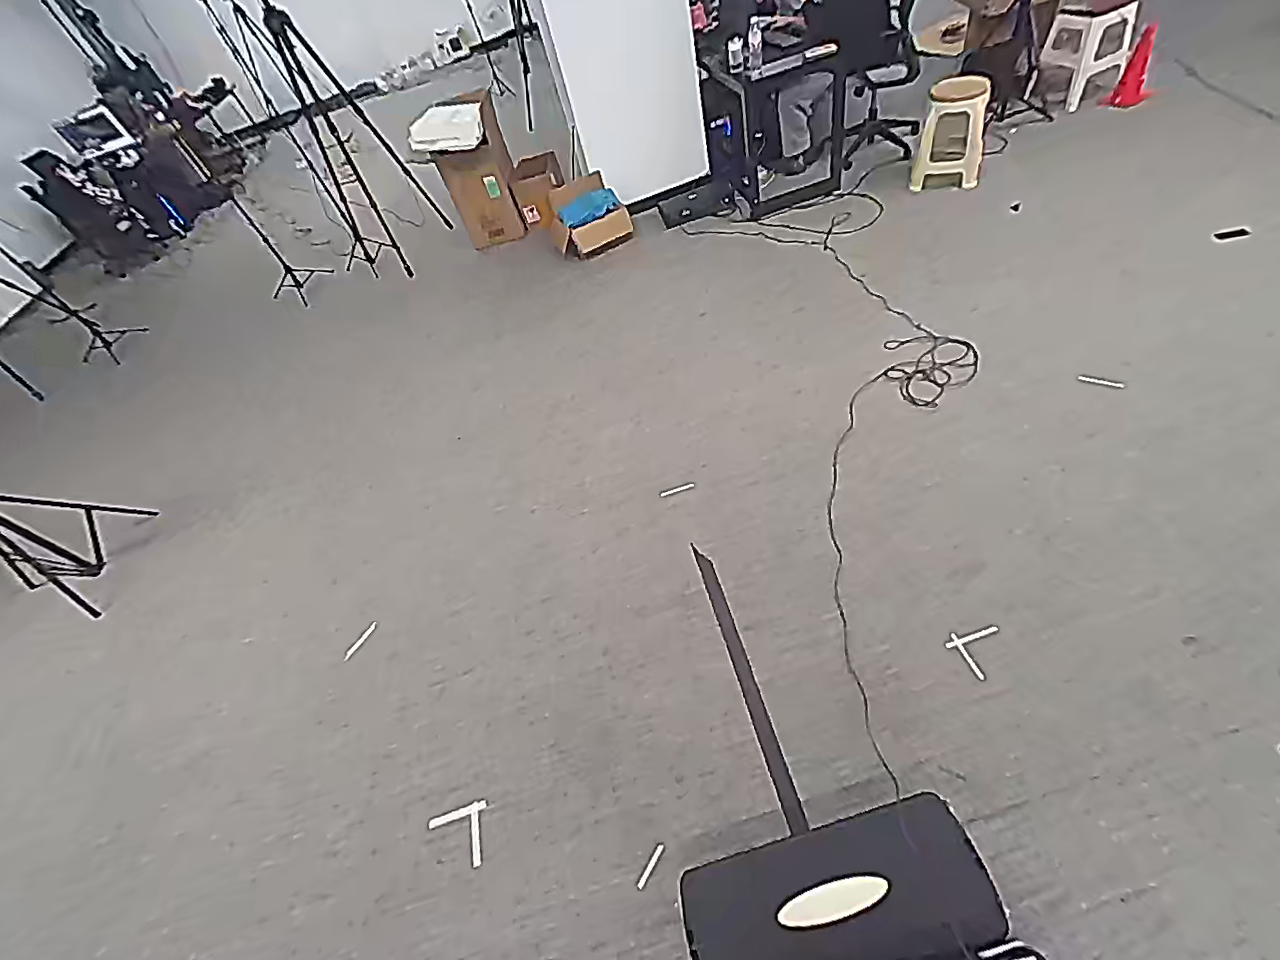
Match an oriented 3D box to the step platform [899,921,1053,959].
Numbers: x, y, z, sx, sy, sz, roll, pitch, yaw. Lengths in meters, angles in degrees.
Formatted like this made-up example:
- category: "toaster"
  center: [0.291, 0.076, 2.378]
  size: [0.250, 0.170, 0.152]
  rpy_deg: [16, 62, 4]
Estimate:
- category: "step platform"
  center: [0.491, 1.095, 1.004]
  size: [0.684, 0.204, 0.286]
  rpy_deg: [-21, 47, 1]
